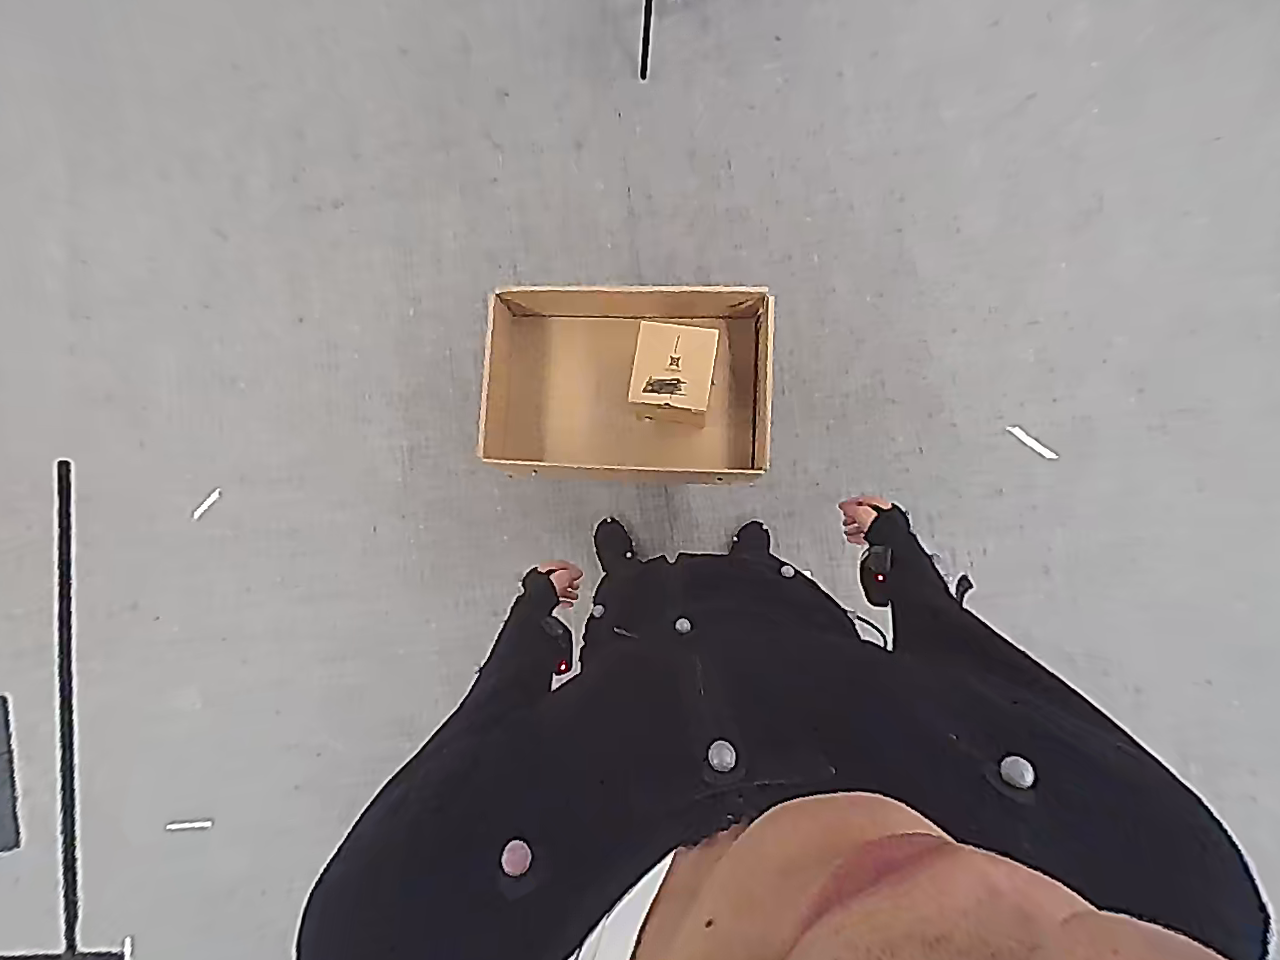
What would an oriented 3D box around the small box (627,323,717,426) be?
[{"bbox_3d":[0.074,-0.223,1.188,0.168,0.176,0.179,9,85,6],"label":"small box"}]
